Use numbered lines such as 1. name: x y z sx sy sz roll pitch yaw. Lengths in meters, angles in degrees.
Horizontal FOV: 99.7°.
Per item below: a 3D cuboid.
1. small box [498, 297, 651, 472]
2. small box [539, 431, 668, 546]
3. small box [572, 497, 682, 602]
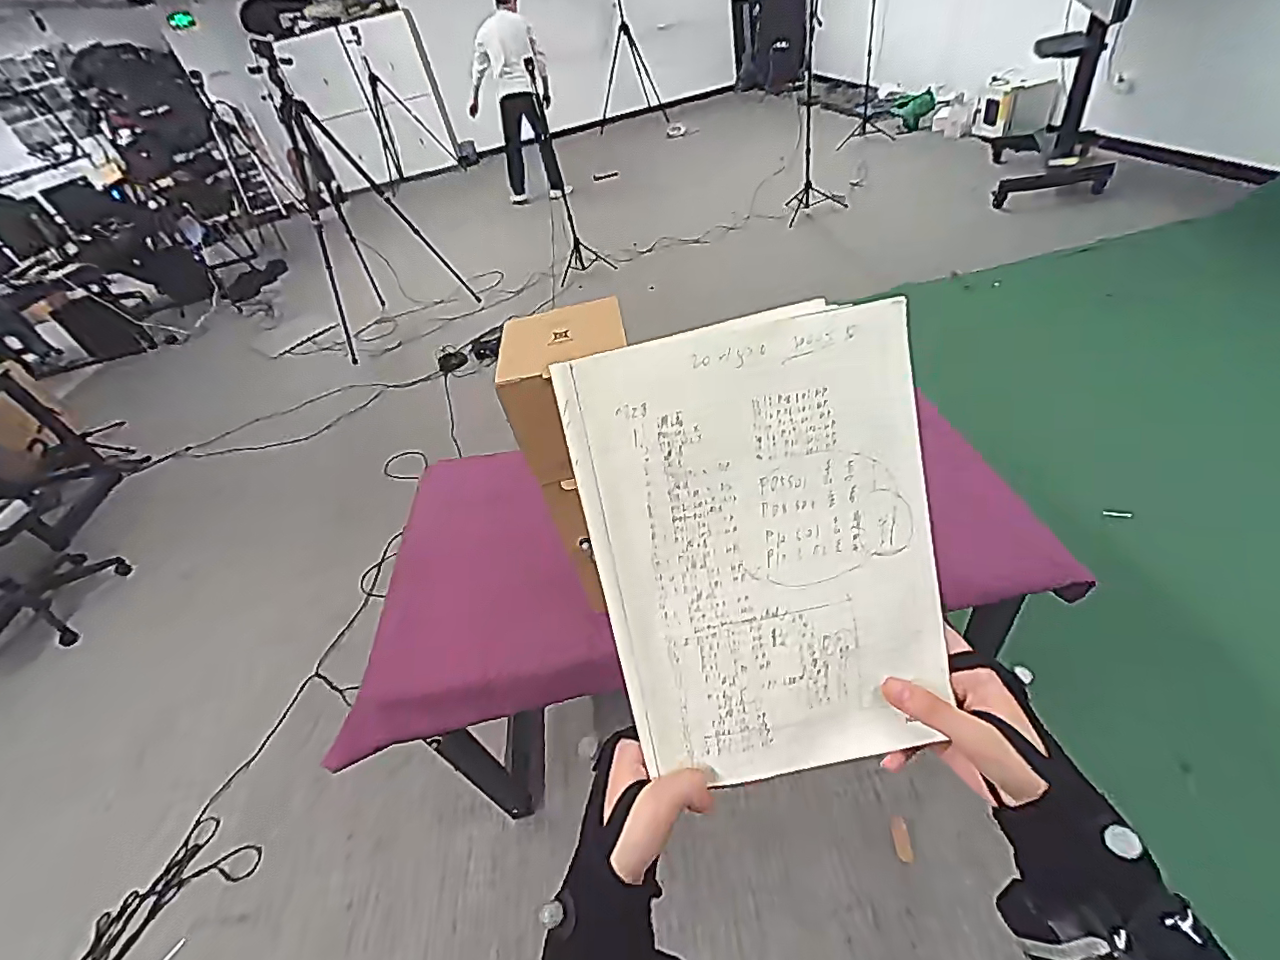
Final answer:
1. small box: -0.084 -0.127 0.756 0.168 0.176 0.179 -11 41 3
2. small box: -0.054 -0.011 0.867 0.168 0.176 0.179 -12 40 3
3. small box: -0.023 0.104 0.981 0.168 0.176 0.179 -12 42 2
